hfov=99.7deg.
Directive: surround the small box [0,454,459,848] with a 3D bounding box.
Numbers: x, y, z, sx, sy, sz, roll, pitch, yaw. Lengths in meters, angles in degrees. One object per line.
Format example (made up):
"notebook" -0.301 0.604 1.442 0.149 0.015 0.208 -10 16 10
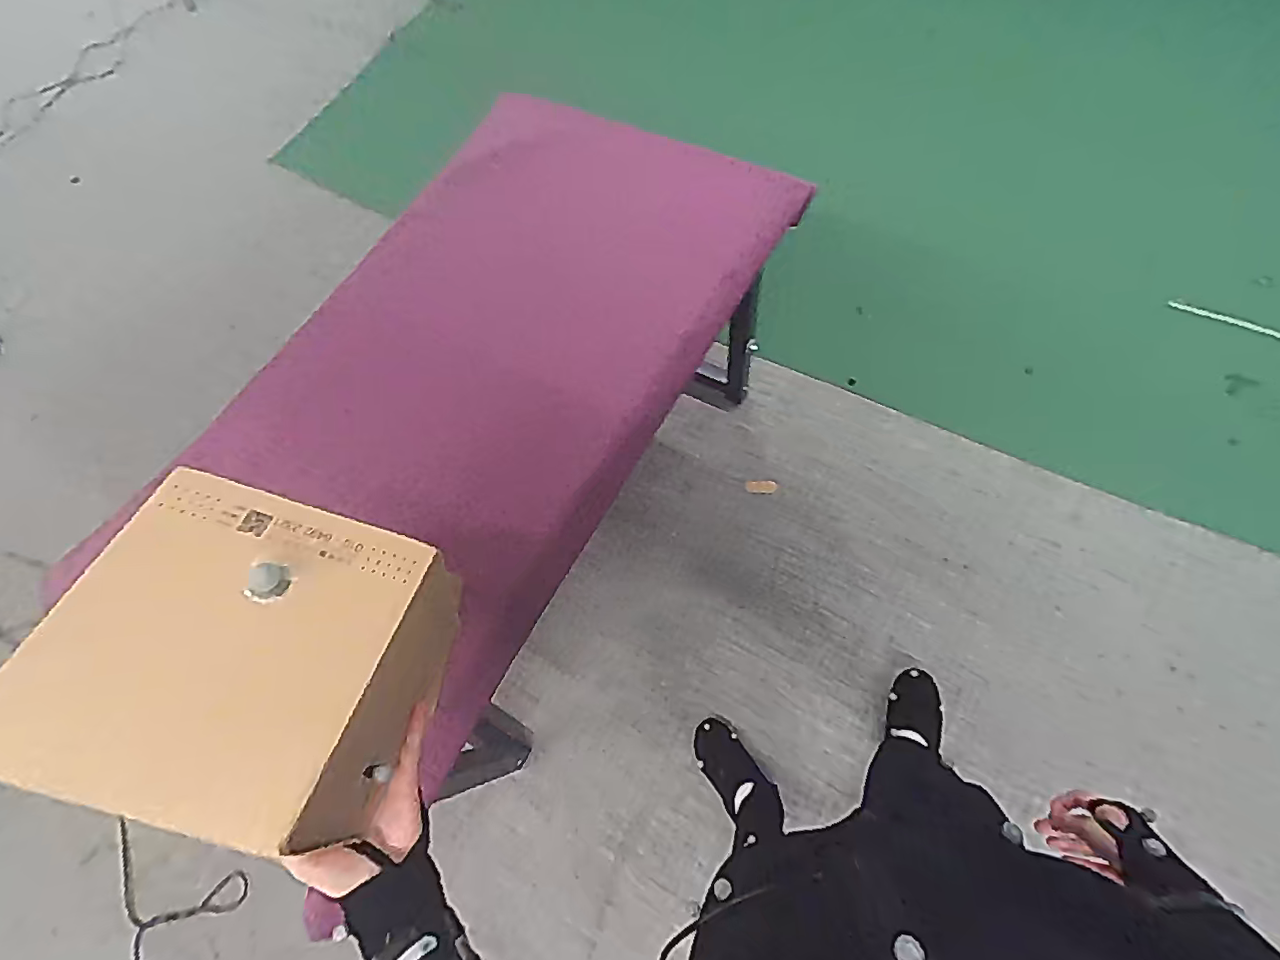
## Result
"small box" -0.233 0.113 0.357 0.168 0.179 0.176 20 58 -3
